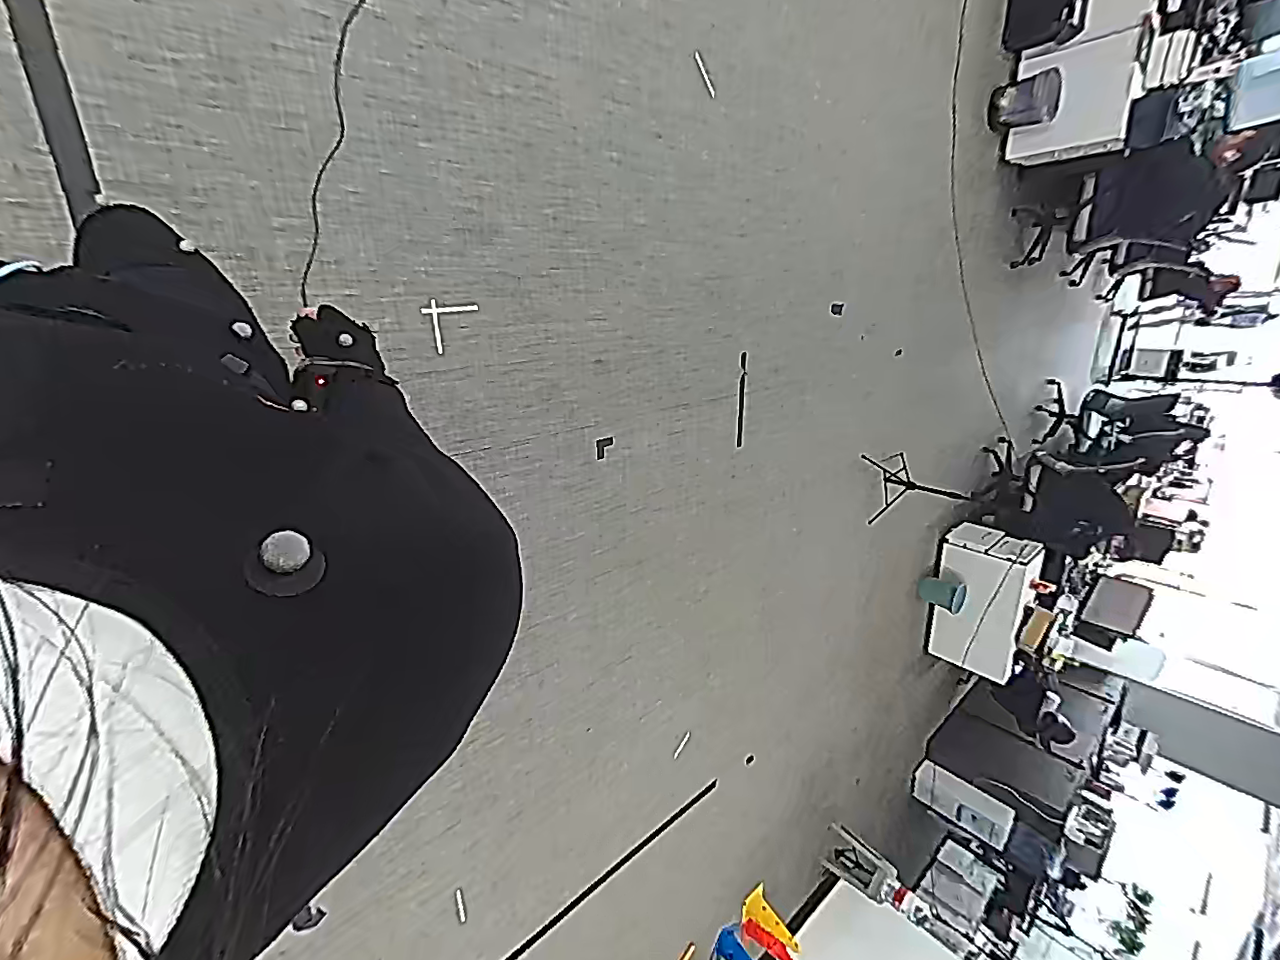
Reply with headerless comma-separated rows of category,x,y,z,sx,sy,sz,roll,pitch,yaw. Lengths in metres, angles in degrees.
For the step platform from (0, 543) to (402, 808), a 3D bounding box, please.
step platform,-0.896,0.385,1.191,0.684,0.204,0.286,-17,114,-36
